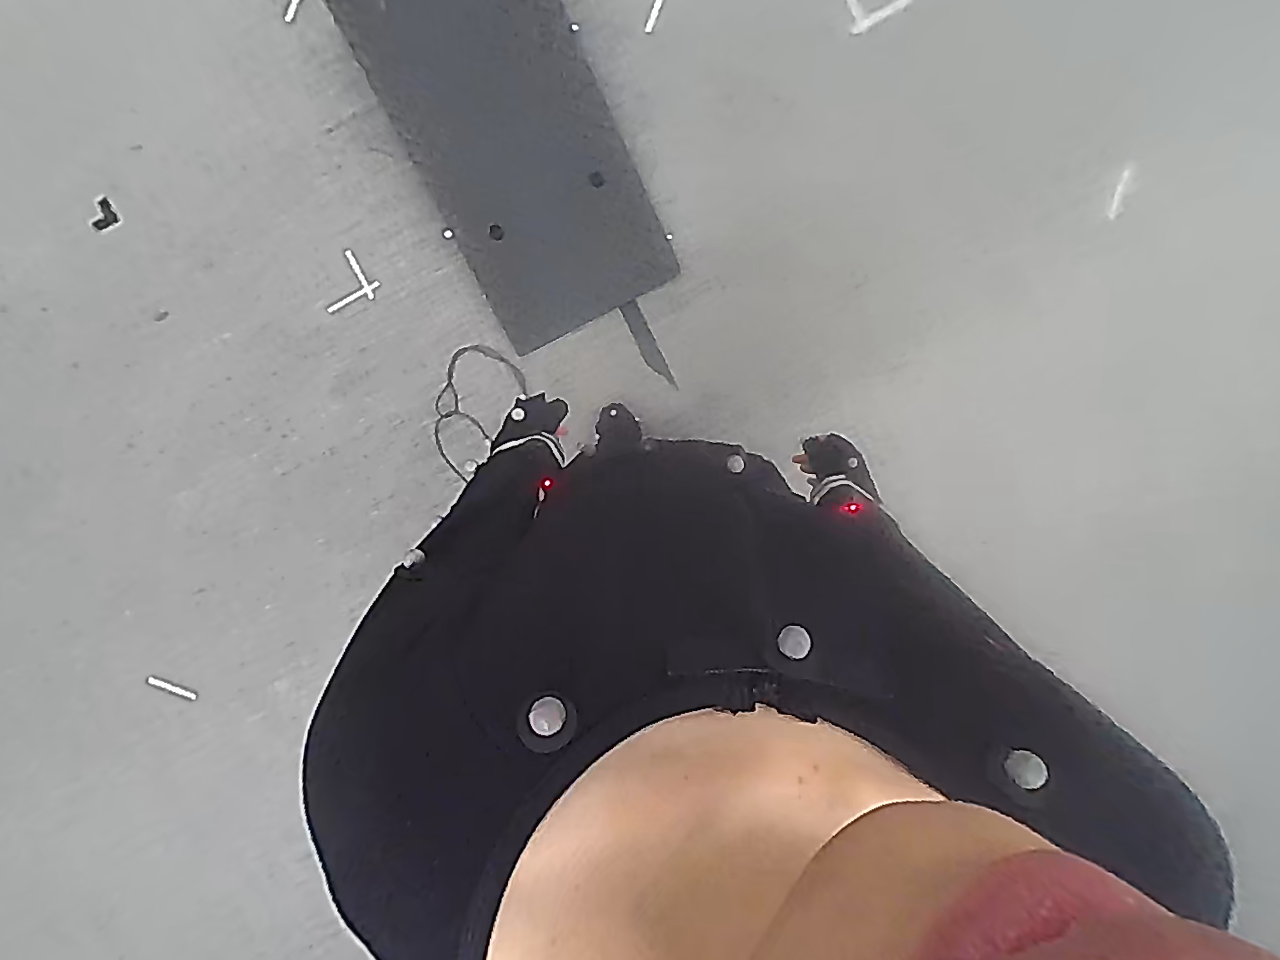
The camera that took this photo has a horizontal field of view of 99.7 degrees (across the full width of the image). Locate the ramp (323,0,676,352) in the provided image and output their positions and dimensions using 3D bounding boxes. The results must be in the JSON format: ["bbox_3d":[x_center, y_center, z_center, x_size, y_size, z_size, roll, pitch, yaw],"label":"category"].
[{"bbox_3d":[-0.332,-0.875,1.316,0.509,0.206,0.991,-29,95,0],"label":"ramp"}]
